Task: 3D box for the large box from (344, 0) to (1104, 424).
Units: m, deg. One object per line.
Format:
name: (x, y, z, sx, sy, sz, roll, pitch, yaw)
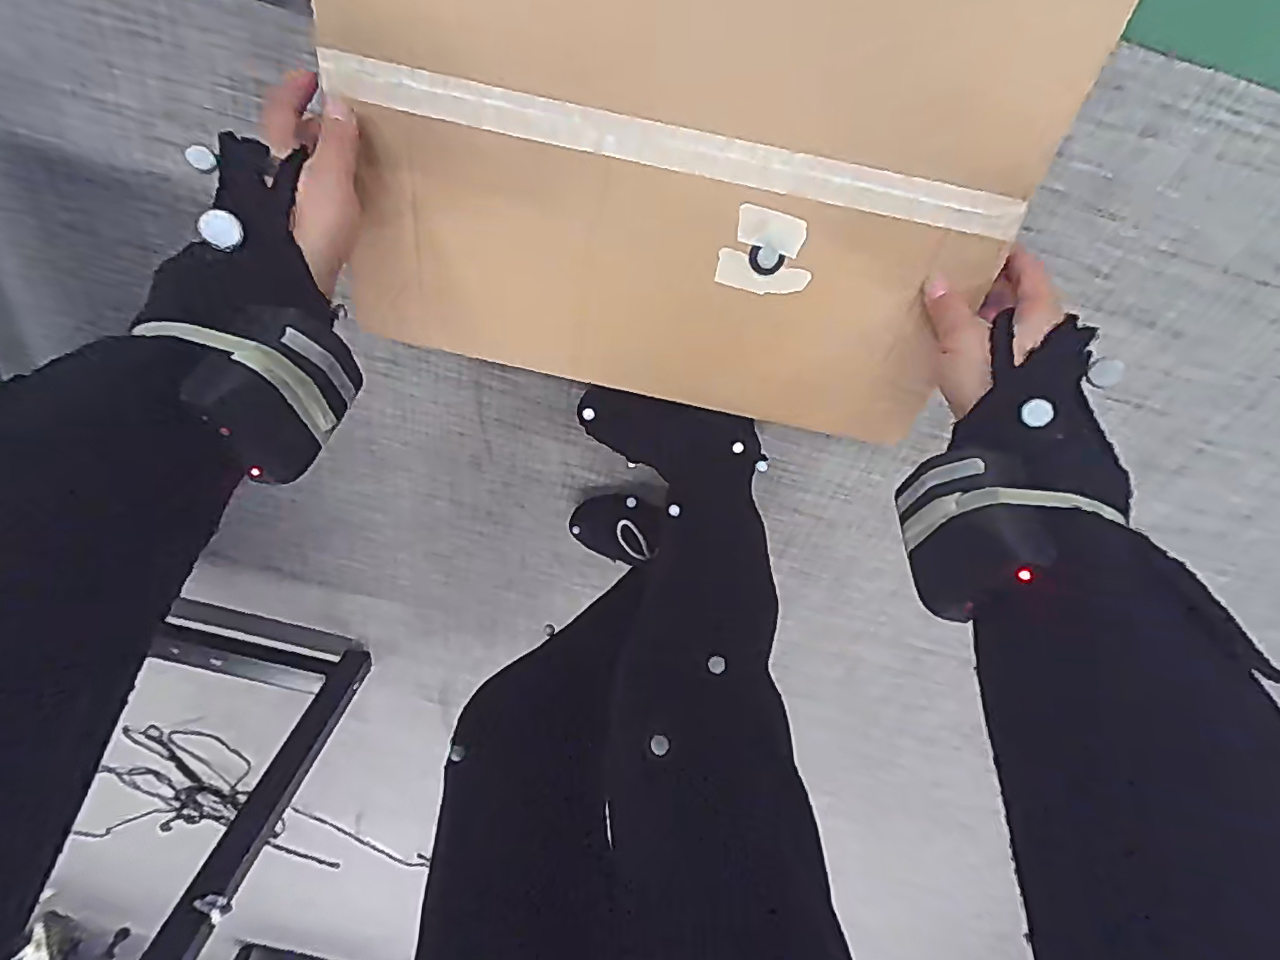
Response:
large box: (0.035, -0.281, 0.446, 0.408, 0.320, 0.320, 11, 124, -2)
